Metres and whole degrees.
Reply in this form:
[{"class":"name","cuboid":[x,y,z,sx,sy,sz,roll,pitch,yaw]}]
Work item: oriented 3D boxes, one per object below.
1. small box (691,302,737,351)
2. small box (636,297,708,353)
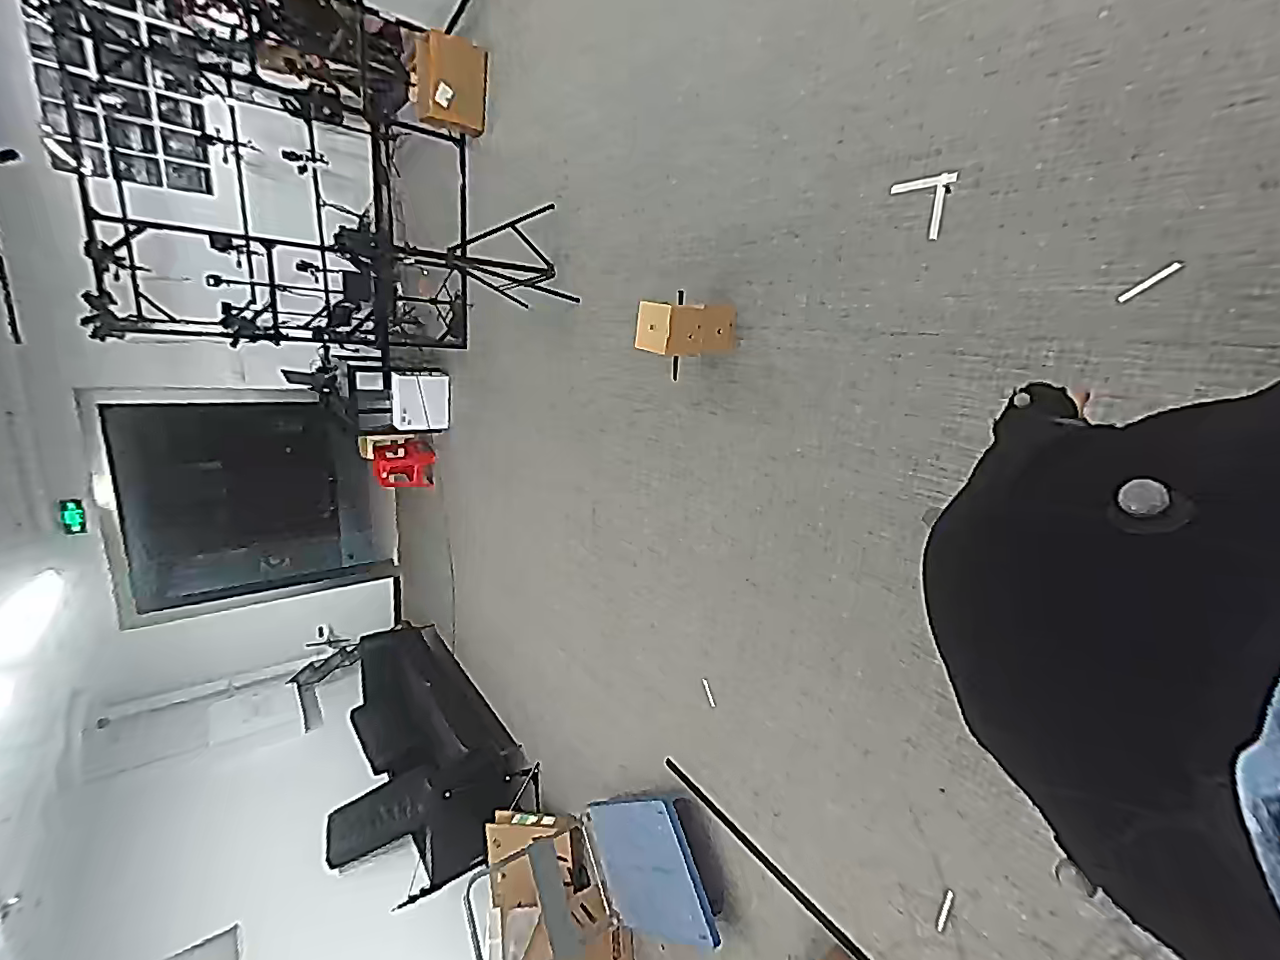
[{"class":"small box","cuboid":[0.240,-0.570,2.014,0.179,0.176,0.168,21,112,50]},{"class":"small box","cuboid":[0.113,-0.546,1.915,0.179,0.176,0.168,29,118,46]}]
